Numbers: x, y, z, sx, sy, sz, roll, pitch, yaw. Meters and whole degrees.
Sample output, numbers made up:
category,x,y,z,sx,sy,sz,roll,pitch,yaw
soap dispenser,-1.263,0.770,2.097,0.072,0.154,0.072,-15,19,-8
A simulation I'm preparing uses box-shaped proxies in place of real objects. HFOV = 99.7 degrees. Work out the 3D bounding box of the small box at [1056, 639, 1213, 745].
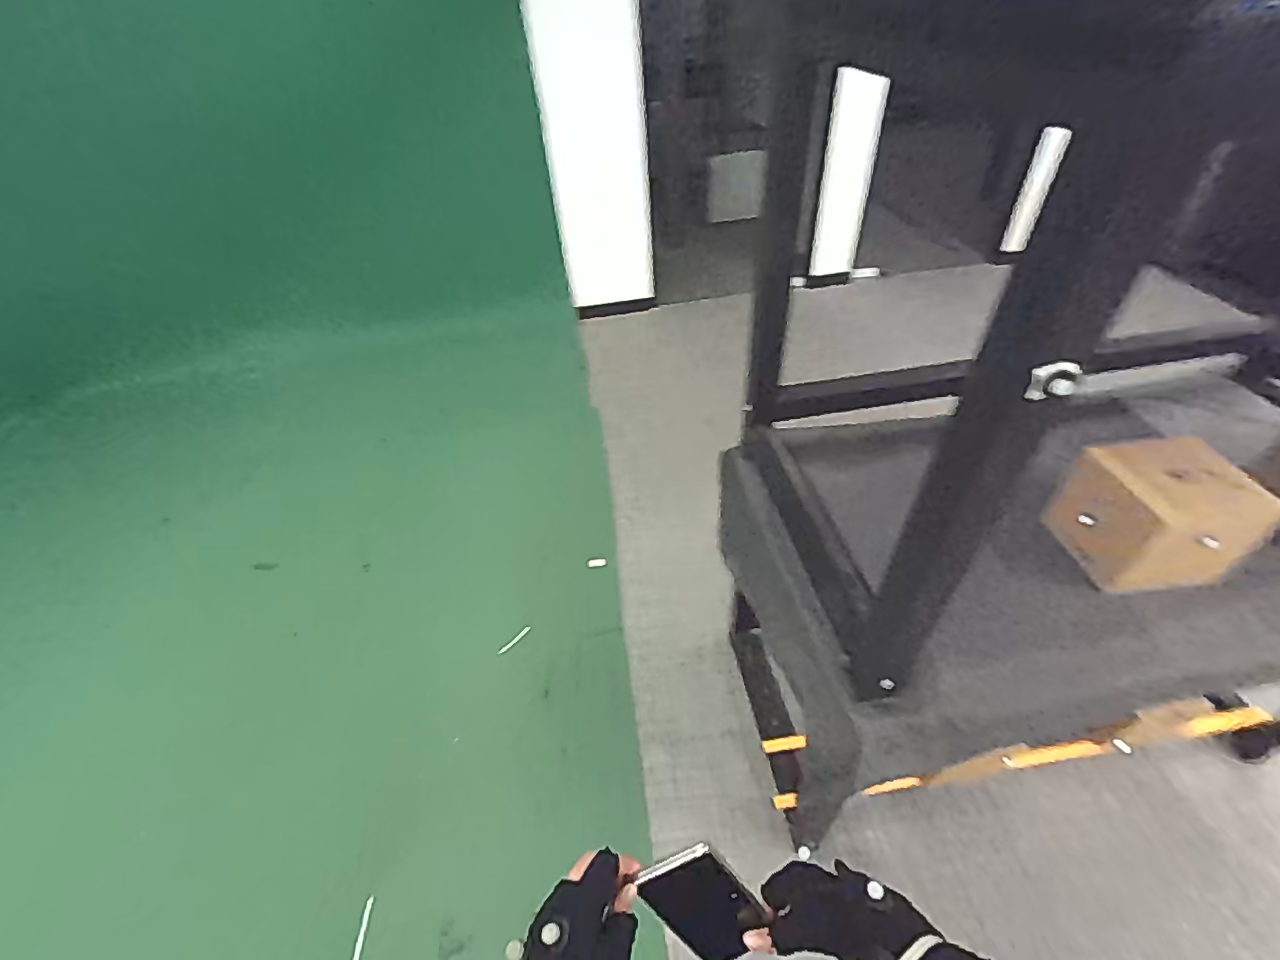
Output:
category,x,y,z,sx,sy,sz,roll,pitch,yaw
small box,1.122,0.493,1.247,0.168,0.176,0.179,-6,43,-1

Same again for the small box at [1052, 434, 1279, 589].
category,x,y,z,sx,sy,sz,roll,pitch,yaw
small box,0.789,0.052,0.839,0.179,0.176,0.168,-7,43,-1
